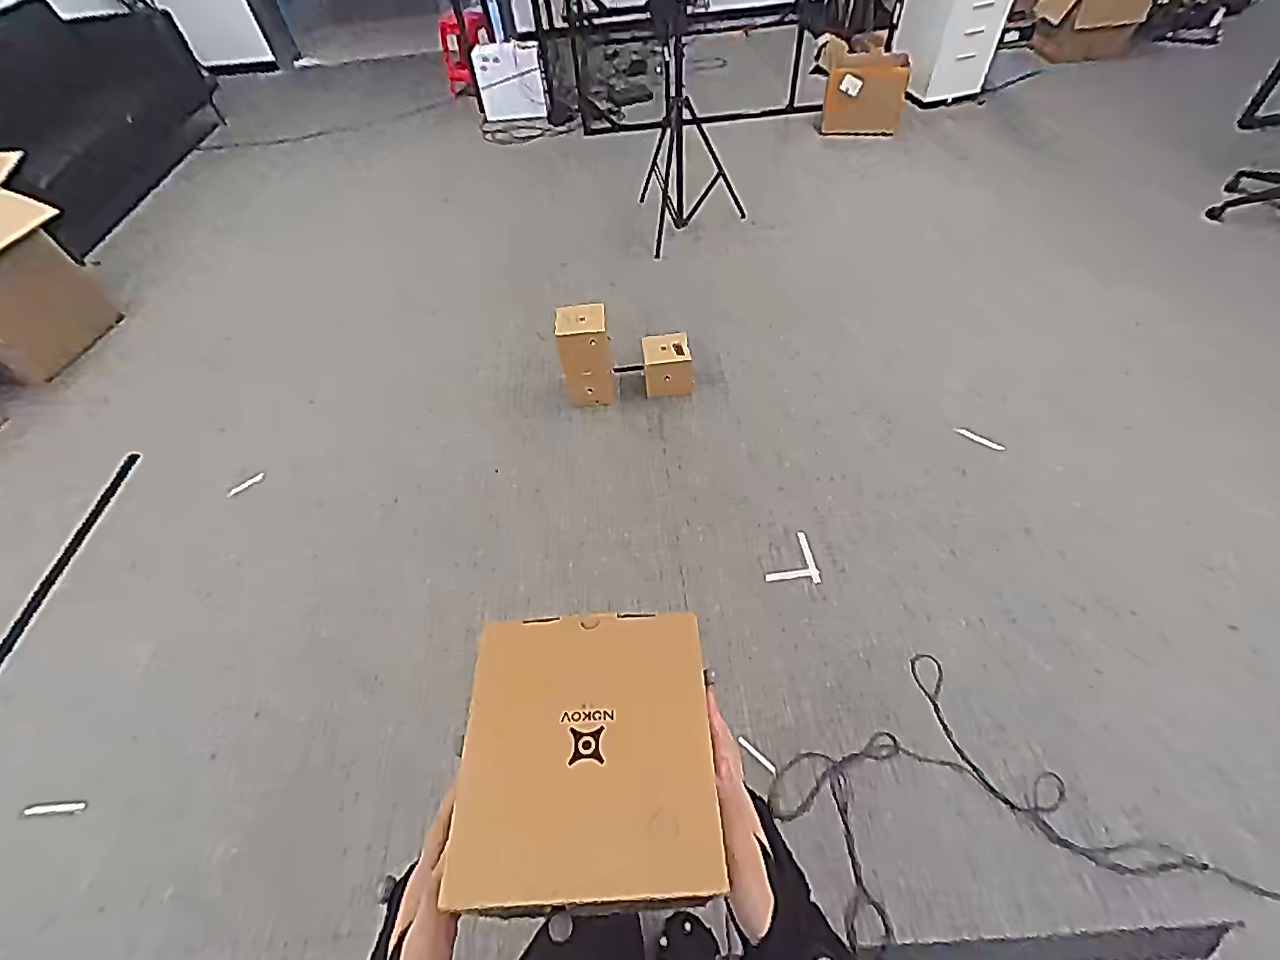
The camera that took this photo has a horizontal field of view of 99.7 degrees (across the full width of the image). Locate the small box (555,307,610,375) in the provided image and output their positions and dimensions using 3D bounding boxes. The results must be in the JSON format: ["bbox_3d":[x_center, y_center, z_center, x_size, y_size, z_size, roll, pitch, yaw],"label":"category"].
[{"bbox_3d":[-0.202,-0.500,1.953,0.179,0.176,0.168,-6,51,1],"label":"small box"}]

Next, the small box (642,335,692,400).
[{"bbox_3d":[0.104,-0.430,2.079,0.179,0.176,0.168,-7,52,2],"label":"small box"}]

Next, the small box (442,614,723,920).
[{"bbox_3d":[-0.033,0.225,0.419,0.168,0.176,0.179,-3,48,-1],"label":"small box"}]
